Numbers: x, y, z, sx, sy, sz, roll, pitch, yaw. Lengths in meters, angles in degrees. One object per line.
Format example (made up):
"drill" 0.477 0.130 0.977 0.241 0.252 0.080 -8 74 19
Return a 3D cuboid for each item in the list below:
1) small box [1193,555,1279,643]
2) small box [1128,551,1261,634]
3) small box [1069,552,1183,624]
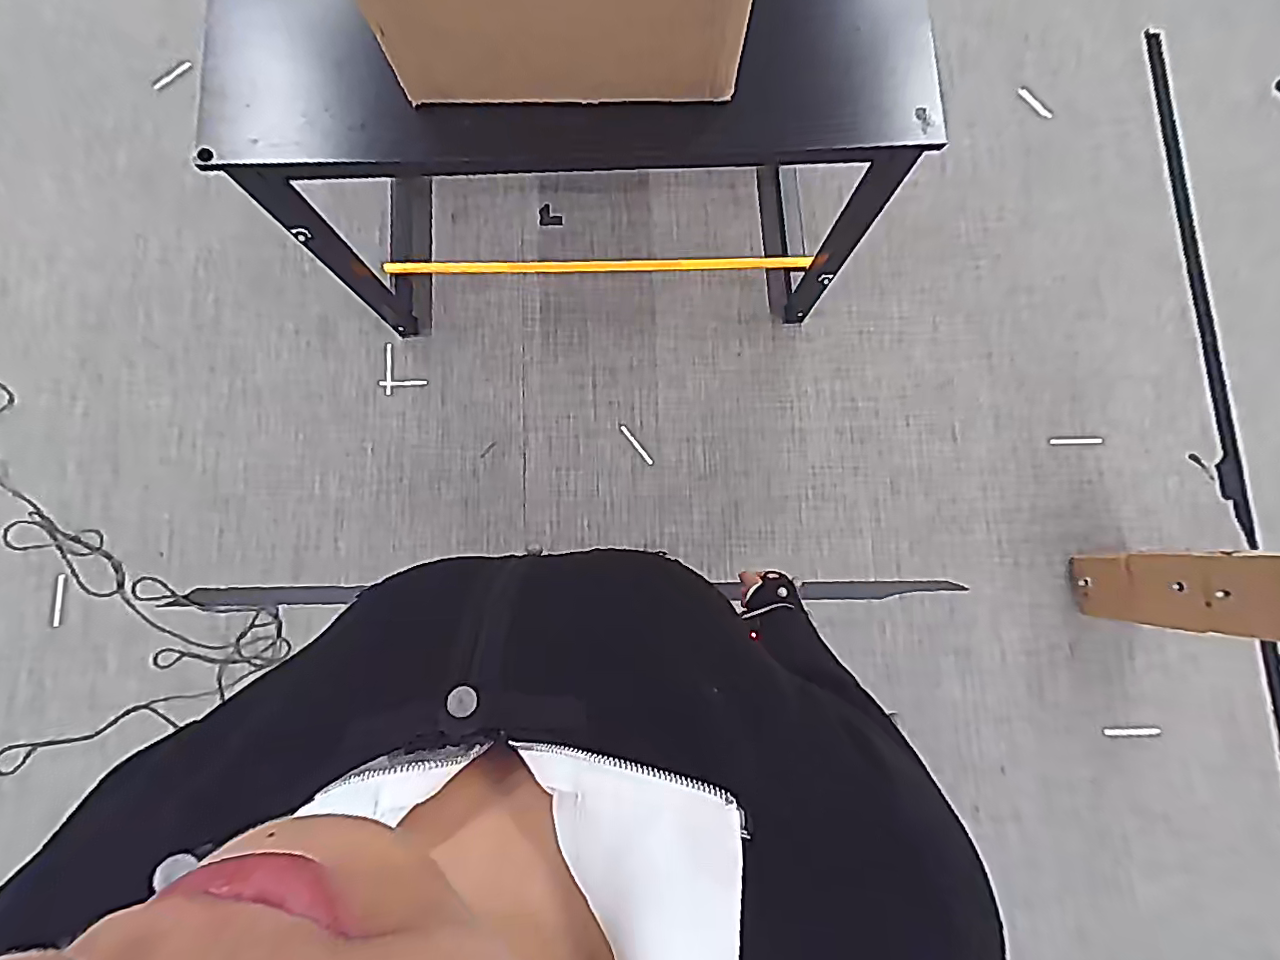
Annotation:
"small box" 1.303 0.239 1.102 0.179 0.176 0.168 1 82 0
"small box" 1.299 0.258 1.266 0.168 0.176 0.179 -2 83 -1
"small box" 1.296 0.280 1.429 0.179 0.176 0.168 -7 82 0
